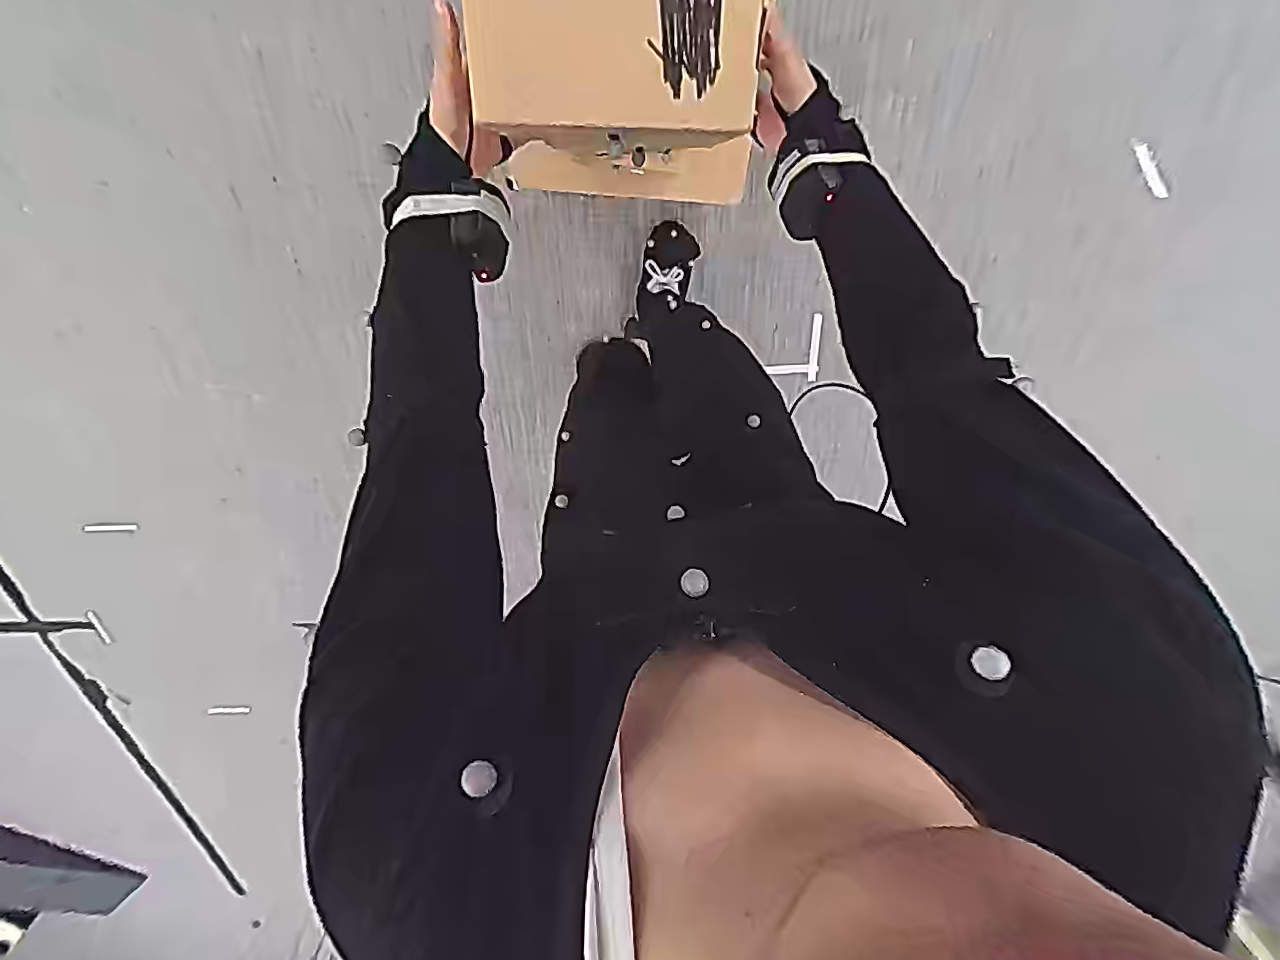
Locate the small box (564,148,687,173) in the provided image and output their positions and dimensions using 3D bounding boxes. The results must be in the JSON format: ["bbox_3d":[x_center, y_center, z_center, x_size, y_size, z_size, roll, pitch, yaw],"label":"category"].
[{"bbox_3d":[-0.015,-0.560,0.802,0.179,0.176,0.168,5,119,-6],"label":"small box"}]

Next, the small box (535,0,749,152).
[{"bbox_3d":[-0.002,-0.412,0.512,0.179,0.176,0.168,-3,119,-2],"label":"small box"}]
